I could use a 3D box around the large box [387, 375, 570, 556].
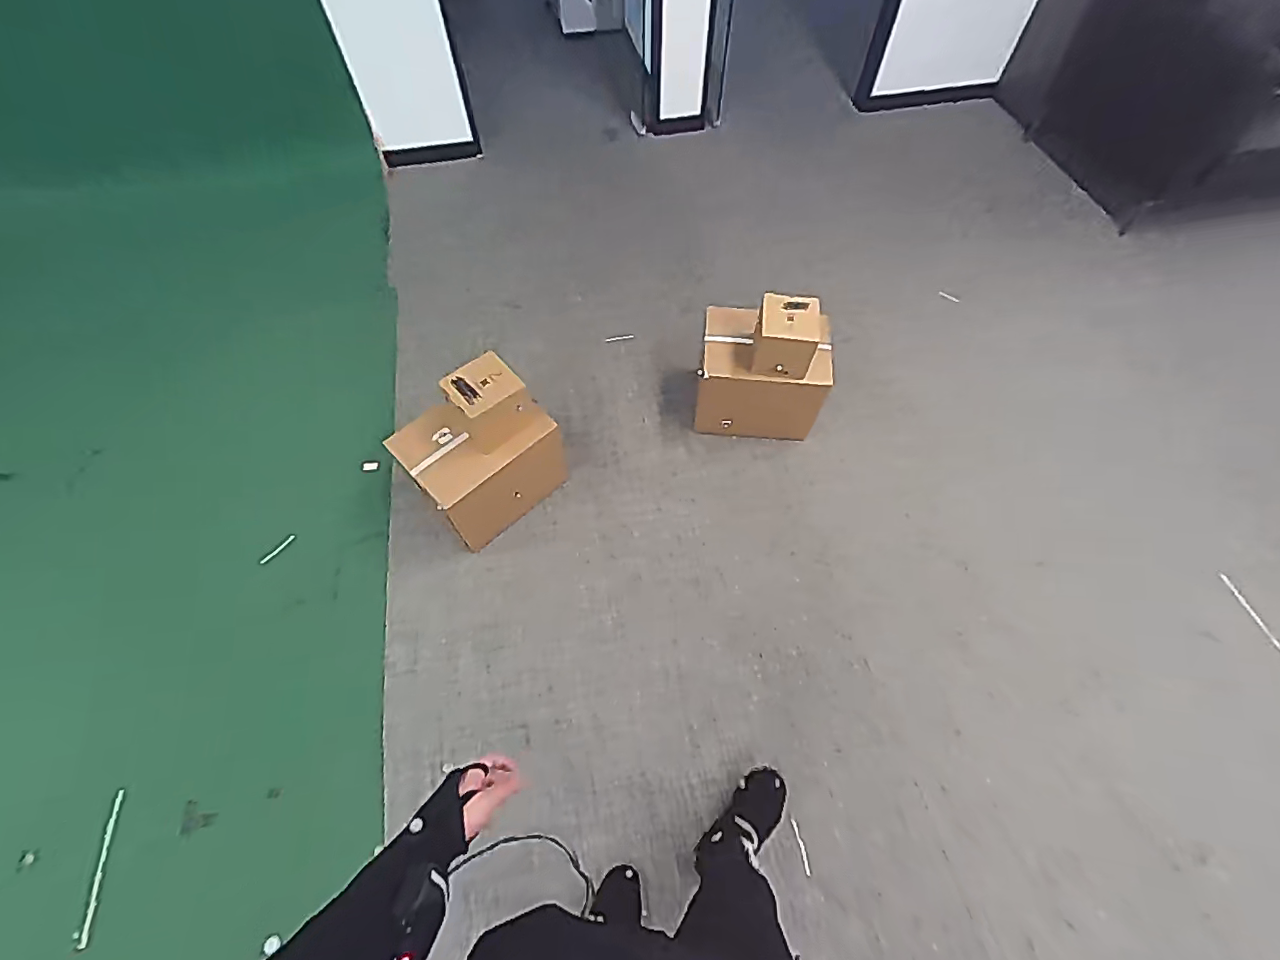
[{"bbox_3d":[-0.480,-0.042,1.692,0.320,0.320,0.408,40,68,22],"label":"large box"}]

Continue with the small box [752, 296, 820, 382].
[{"bbox_3d":[0.436,-0.423,1.631,0.168,0.176,0.179,7,62,4],"label":"small box"}]
